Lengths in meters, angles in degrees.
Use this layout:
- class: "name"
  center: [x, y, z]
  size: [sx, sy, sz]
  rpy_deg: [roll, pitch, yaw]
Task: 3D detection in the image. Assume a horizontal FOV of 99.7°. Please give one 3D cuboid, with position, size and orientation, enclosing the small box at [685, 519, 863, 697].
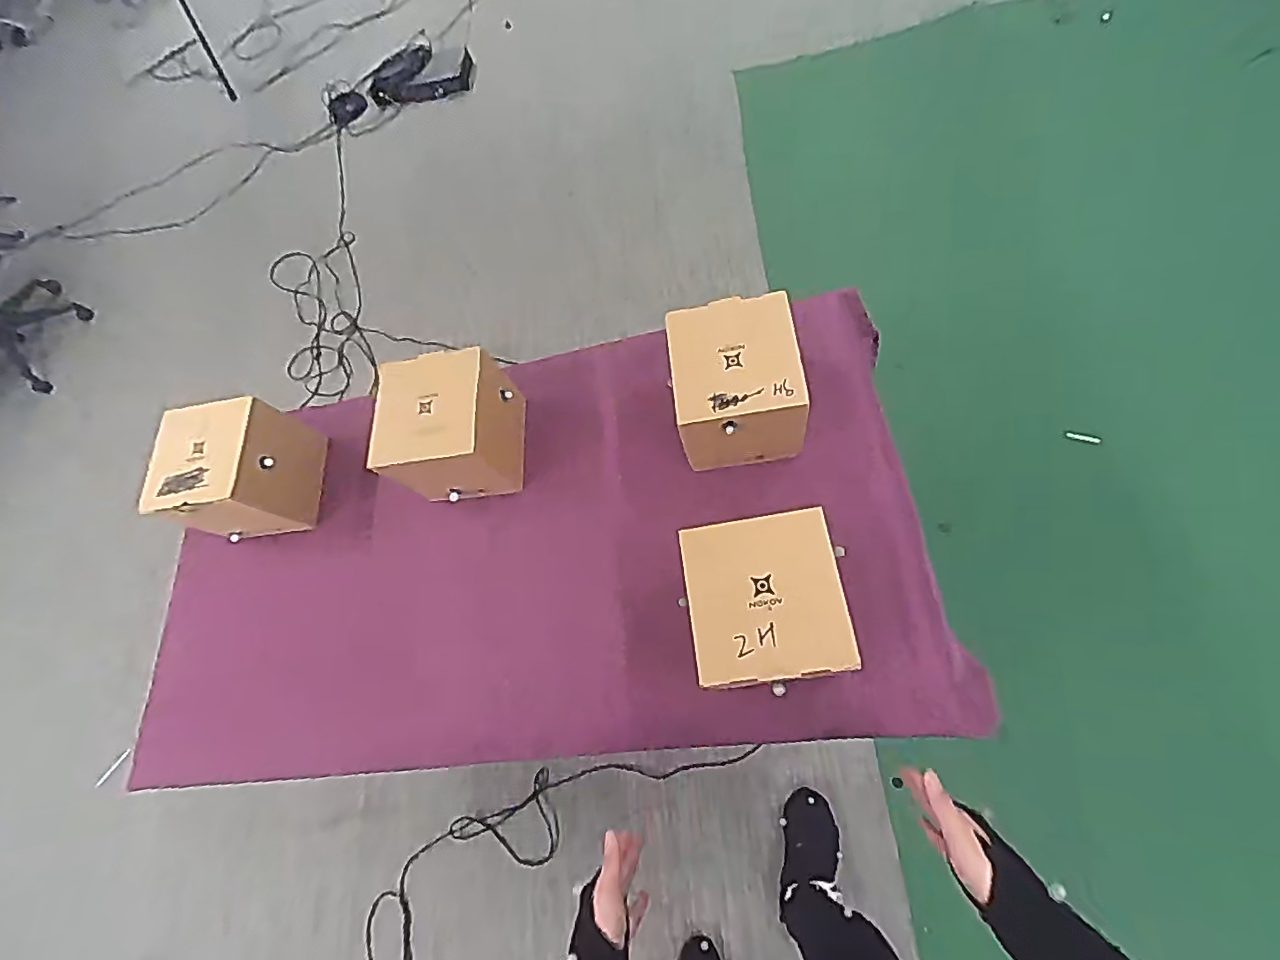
- class: "small box"
  center: [0.152, 0.162, 0.654]
  size: [0.168, 0.176, 0.179]
  rpy_deg: [-9, 68, 9]

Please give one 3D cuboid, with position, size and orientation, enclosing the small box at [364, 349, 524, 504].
- class: "small box"
  center: [-0.288, -0.075, 0.835]
  size: [0.168, 0.176, 0.179]
  rpy_deg: [-6, 70, 10]

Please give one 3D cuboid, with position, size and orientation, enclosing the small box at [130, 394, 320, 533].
- class: "small box"
  center: [-0.658, -0.016, 0.881]
  size: [0.168, 0.176, 0.179]
  rpy_deg: [-7, 69, 8]

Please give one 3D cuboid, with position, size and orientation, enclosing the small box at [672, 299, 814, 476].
- class: "small box"
  center: [0.141, -0.122, 0.765]
  size: [0.168, 0.176, 0.179]
  rpy_deg: [-7, 69, 9]
